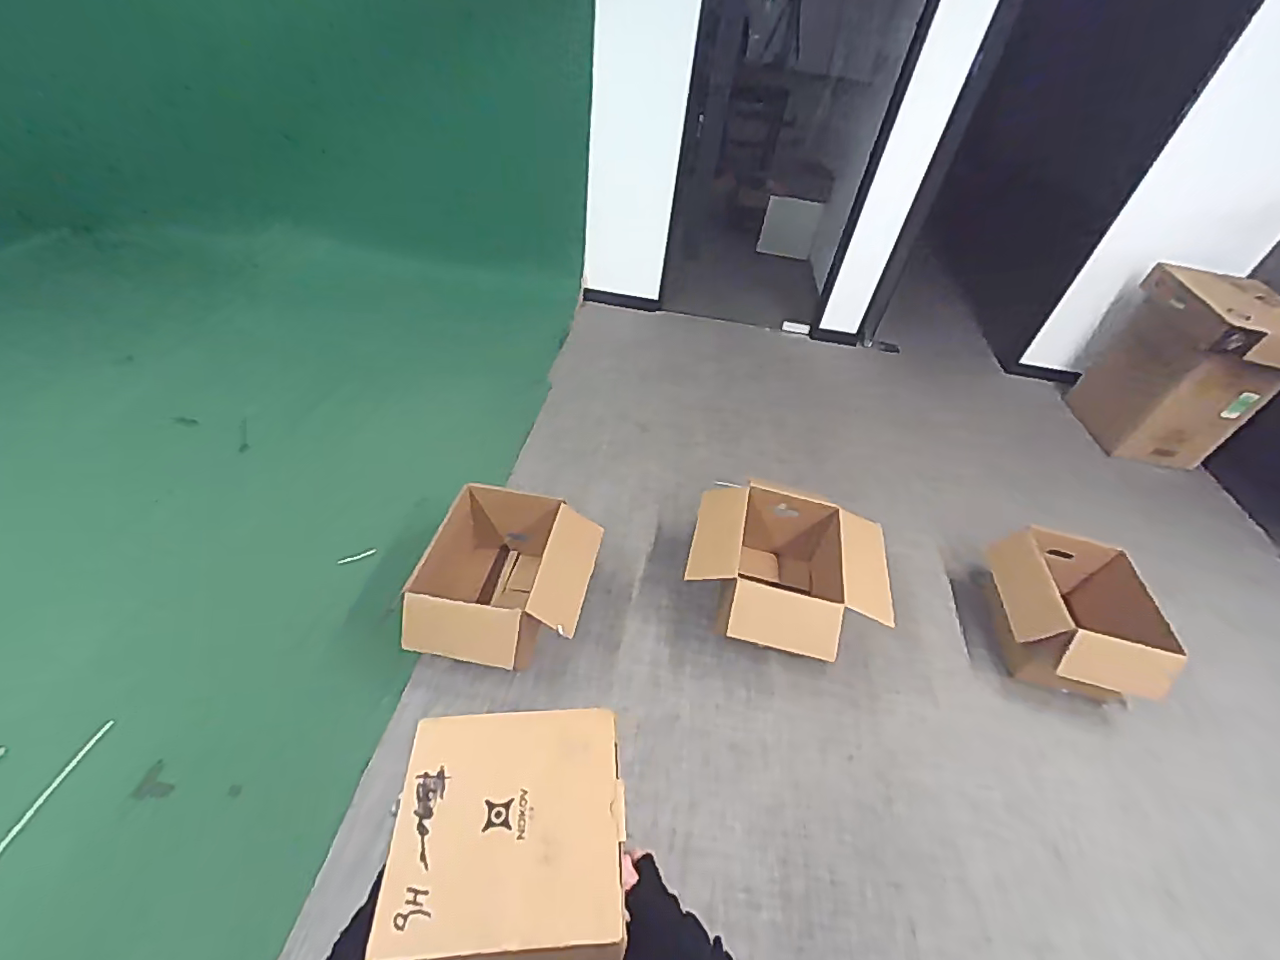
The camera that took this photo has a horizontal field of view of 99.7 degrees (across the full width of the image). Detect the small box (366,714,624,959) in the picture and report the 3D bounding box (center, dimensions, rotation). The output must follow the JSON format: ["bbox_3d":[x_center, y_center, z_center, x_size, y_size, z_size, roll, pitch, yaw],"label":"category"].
[{"bbox_3d":[-0.109,0.327,0.482,0.179,0.176,0.168,1,41,-5],"label":"small box"}]
